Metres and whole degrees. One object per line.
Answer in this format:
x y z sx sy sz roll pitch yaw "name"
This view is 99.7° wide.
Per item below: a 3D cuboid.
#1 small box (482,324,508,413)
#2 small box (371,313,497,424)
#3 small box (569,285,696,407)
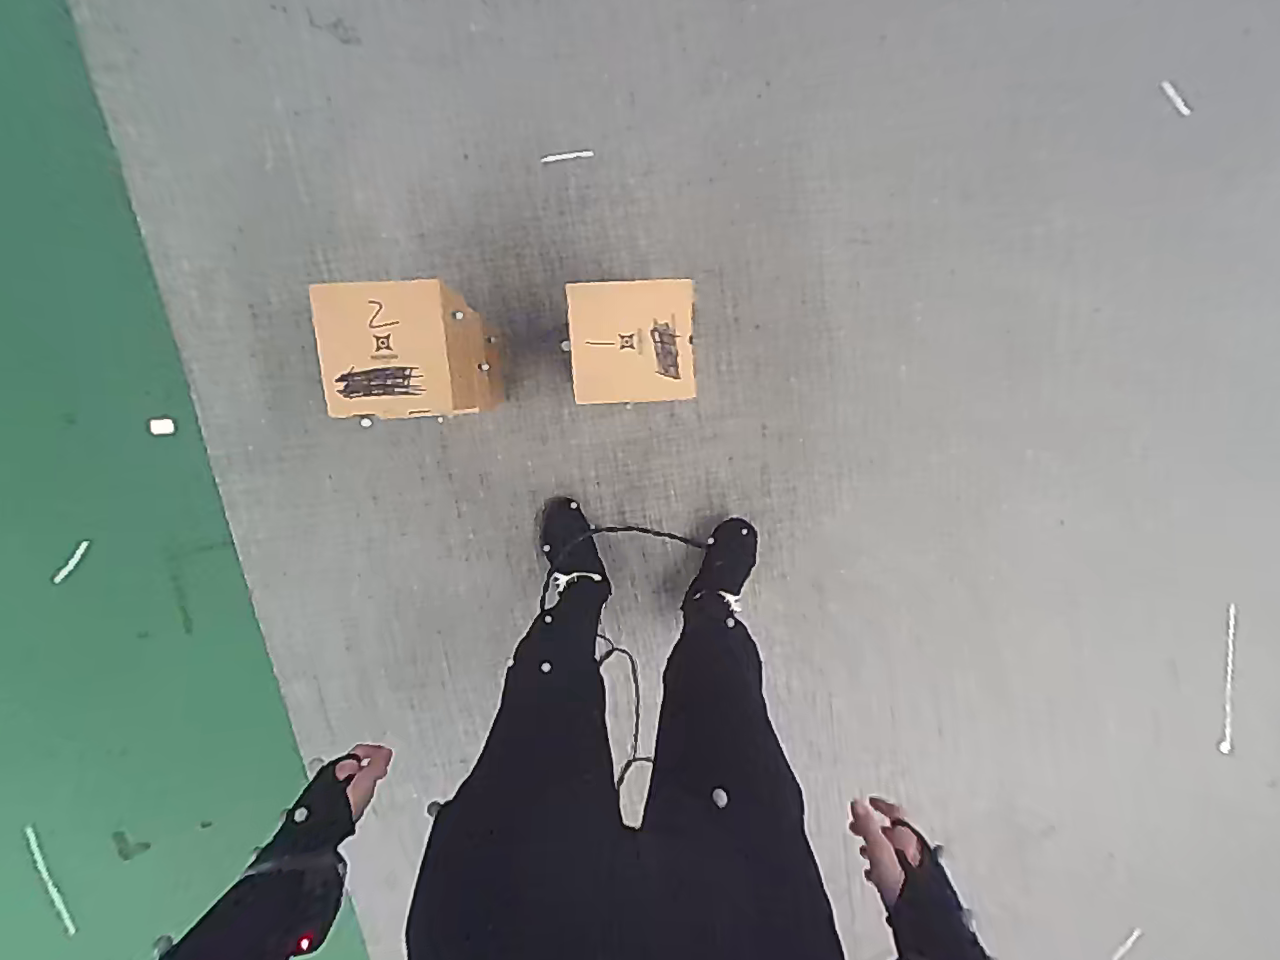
-0.379 -0.225 1.137 0.168 0.176 0.179 -6 99 -4 "small box"
-0.359 -0.198 0.975 0.168 0.176 0.179 -5 99 -5 "small box"
-0.016 -0.203 0.840 0.179 0.176 0.168 -4 100 -4 "small box"
